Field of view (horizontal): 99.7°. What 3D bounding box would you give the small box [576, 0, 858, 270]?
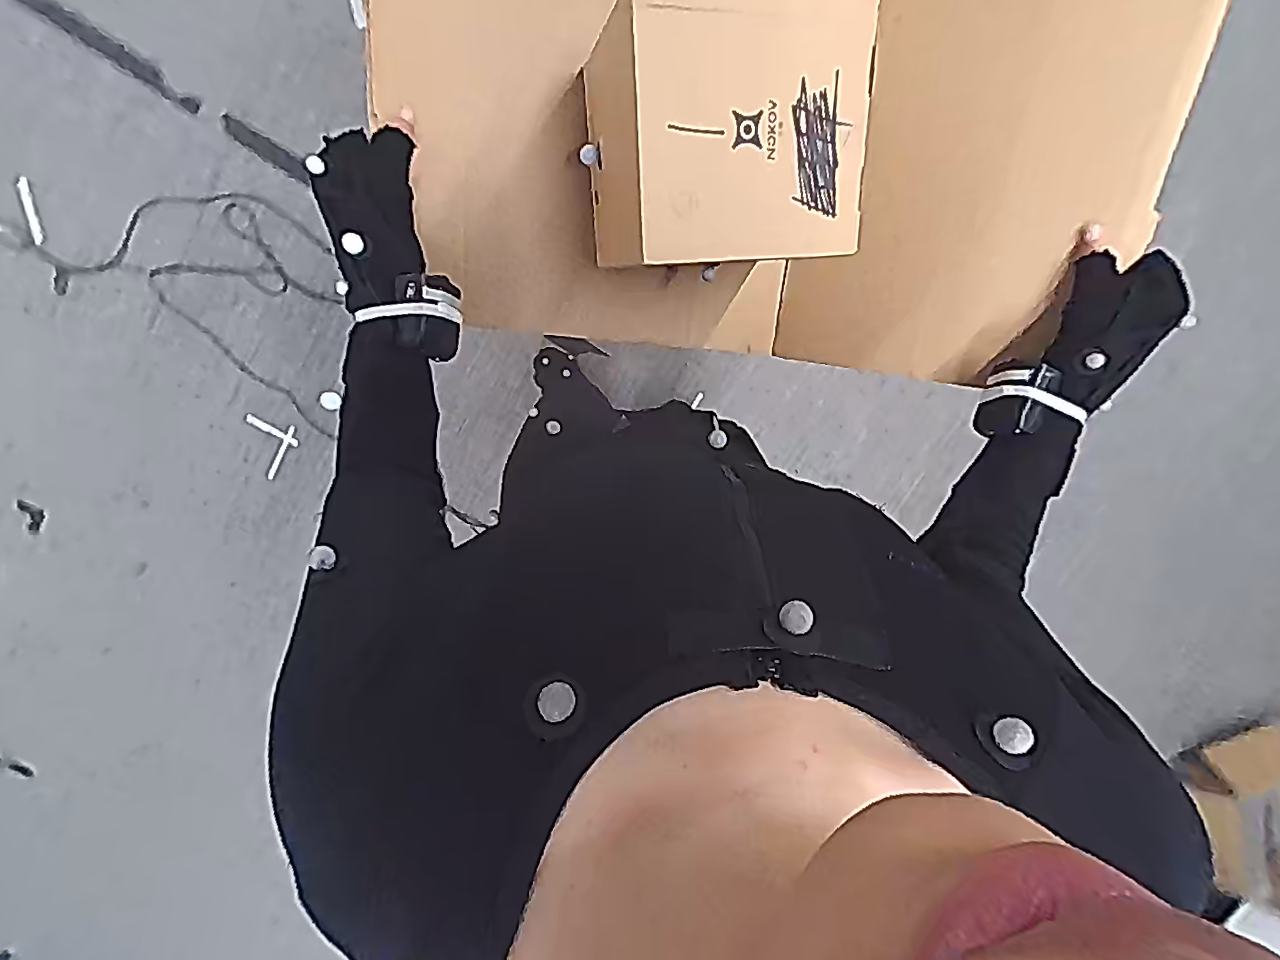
[{"bbox_3d":[0.051,-0.270,0.455,0.179,0.176,0.168,-9,112,-12],"label":"small box"}]
